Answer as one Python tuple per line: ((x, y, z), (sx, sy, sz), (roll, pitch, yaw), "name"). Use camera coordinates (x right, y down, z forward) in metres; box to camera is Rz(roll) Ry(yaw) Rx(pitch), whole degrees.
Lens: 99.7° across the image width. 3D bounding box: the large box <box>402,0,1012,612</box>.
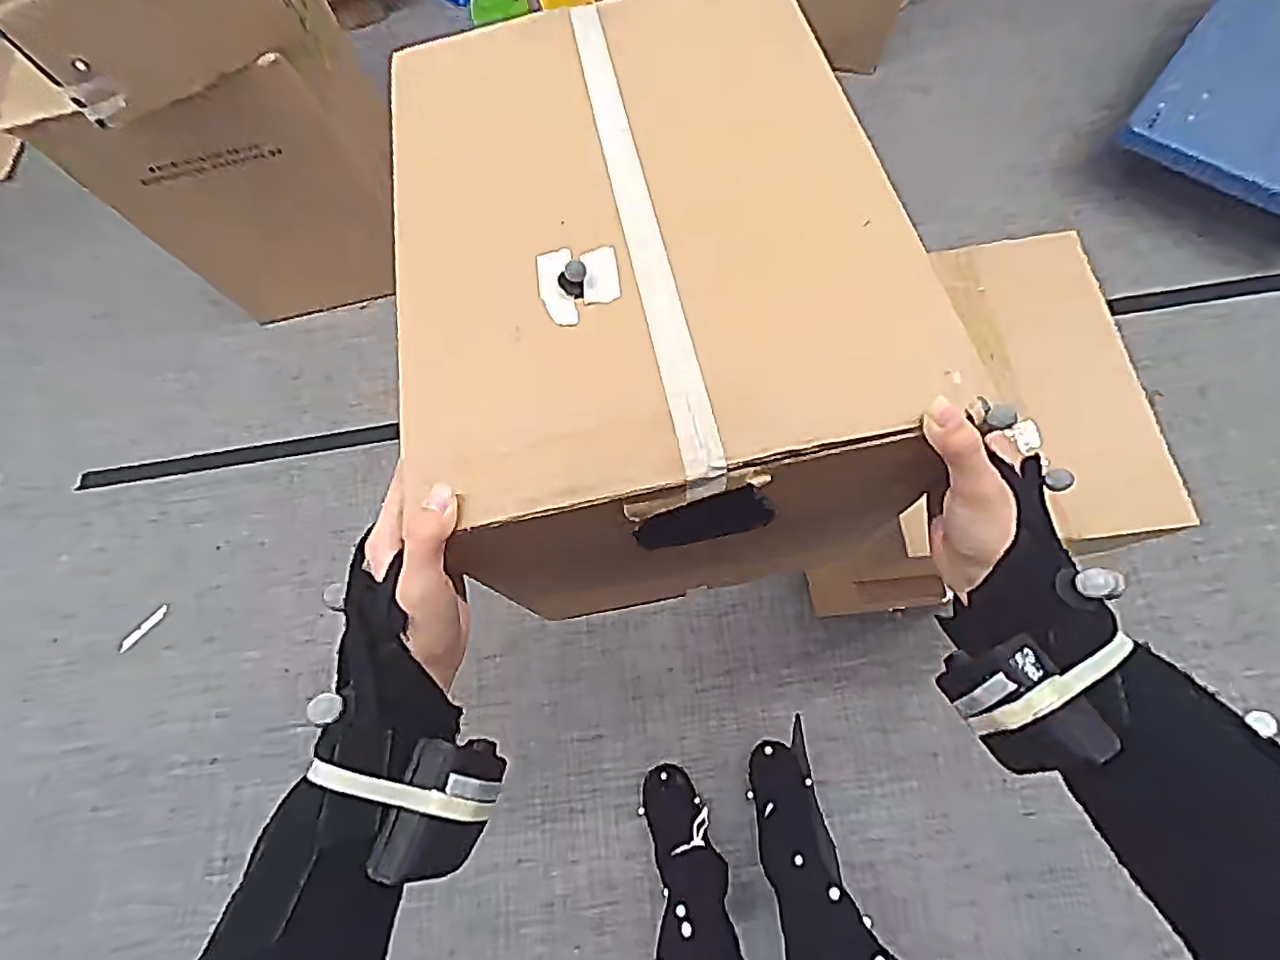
((0.015, -0.127, 0.490), (0.320, 0.320, 0.408), (-13, 68, 1), "large box")
